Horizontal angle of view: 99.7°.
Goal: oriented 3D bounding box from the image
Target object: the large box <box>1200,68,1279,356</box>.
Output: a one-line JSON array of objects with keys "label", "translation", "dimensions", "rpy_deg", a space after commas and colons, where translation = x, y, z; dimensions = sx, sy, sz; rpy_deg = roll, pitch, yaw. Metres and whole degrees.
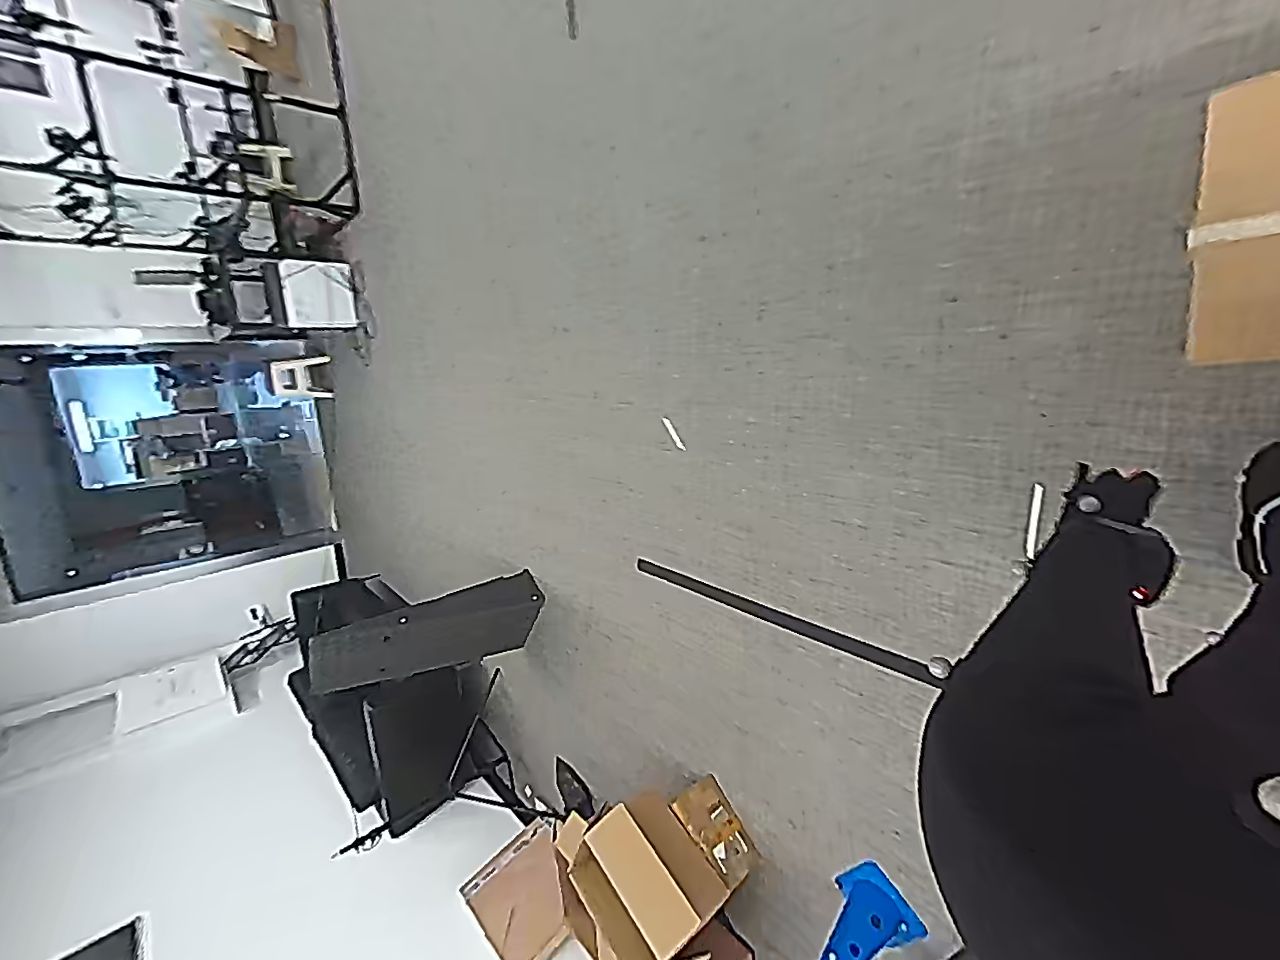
[{"label": "large box", "translation": [0.928, -0.320, 0.603], "dimensions": [0.408, 0.320, 0.320], "rpy_deg": [6, 106, 49]}]
